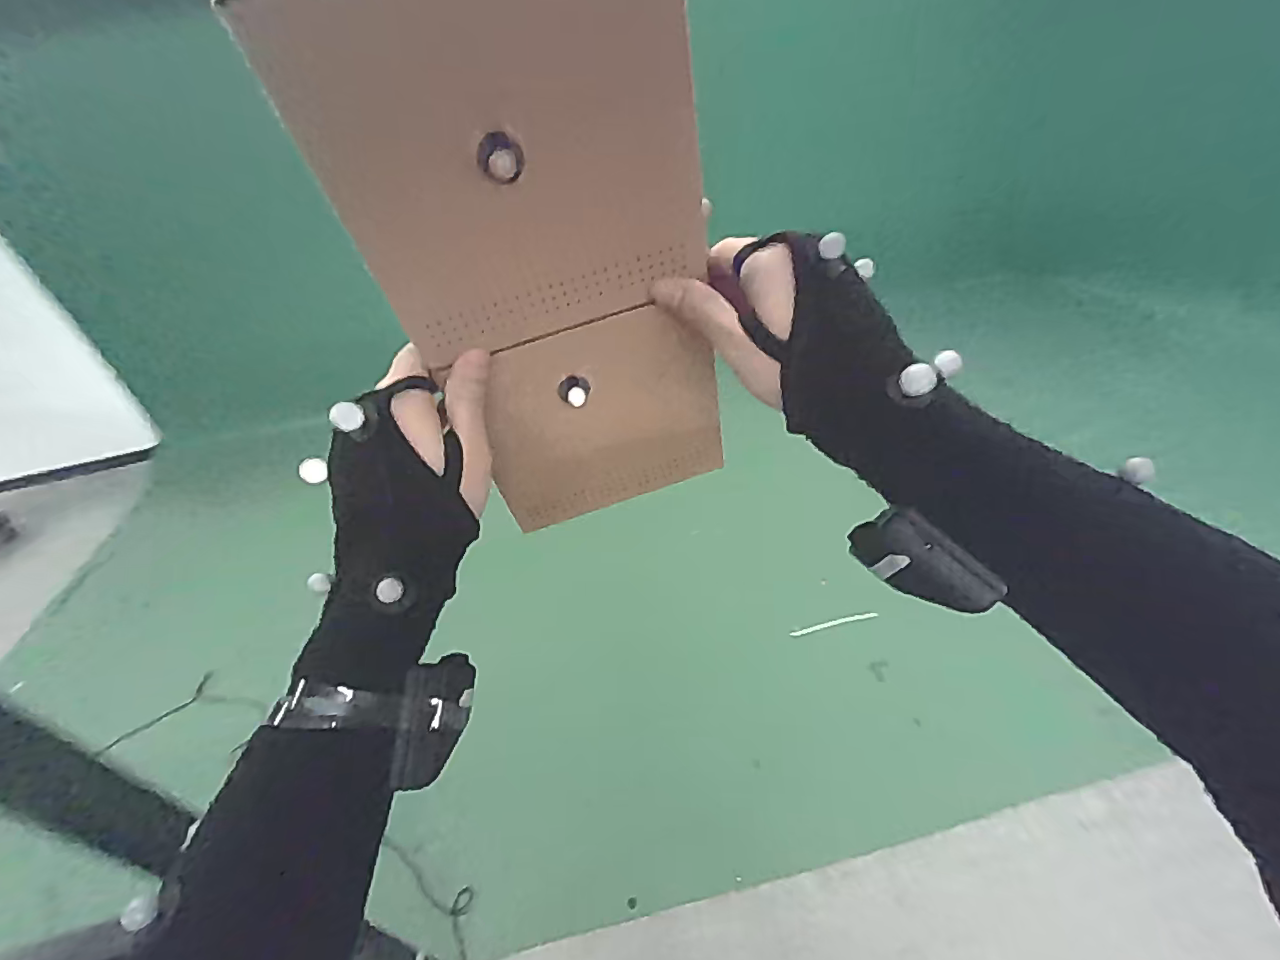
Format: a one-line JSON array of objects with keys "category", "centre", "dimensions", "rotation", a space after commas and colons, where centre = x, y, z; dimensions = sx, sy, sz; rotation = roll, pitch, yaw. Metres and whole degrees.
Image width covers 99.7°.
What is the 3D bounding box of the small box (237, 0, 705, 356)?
[{"category": "small box", "centre": [-0.069, -0.201, 0.310], "dimensions": [0.179, 0.176, 0.168], "rotation": [-19, 47, -1]}]
